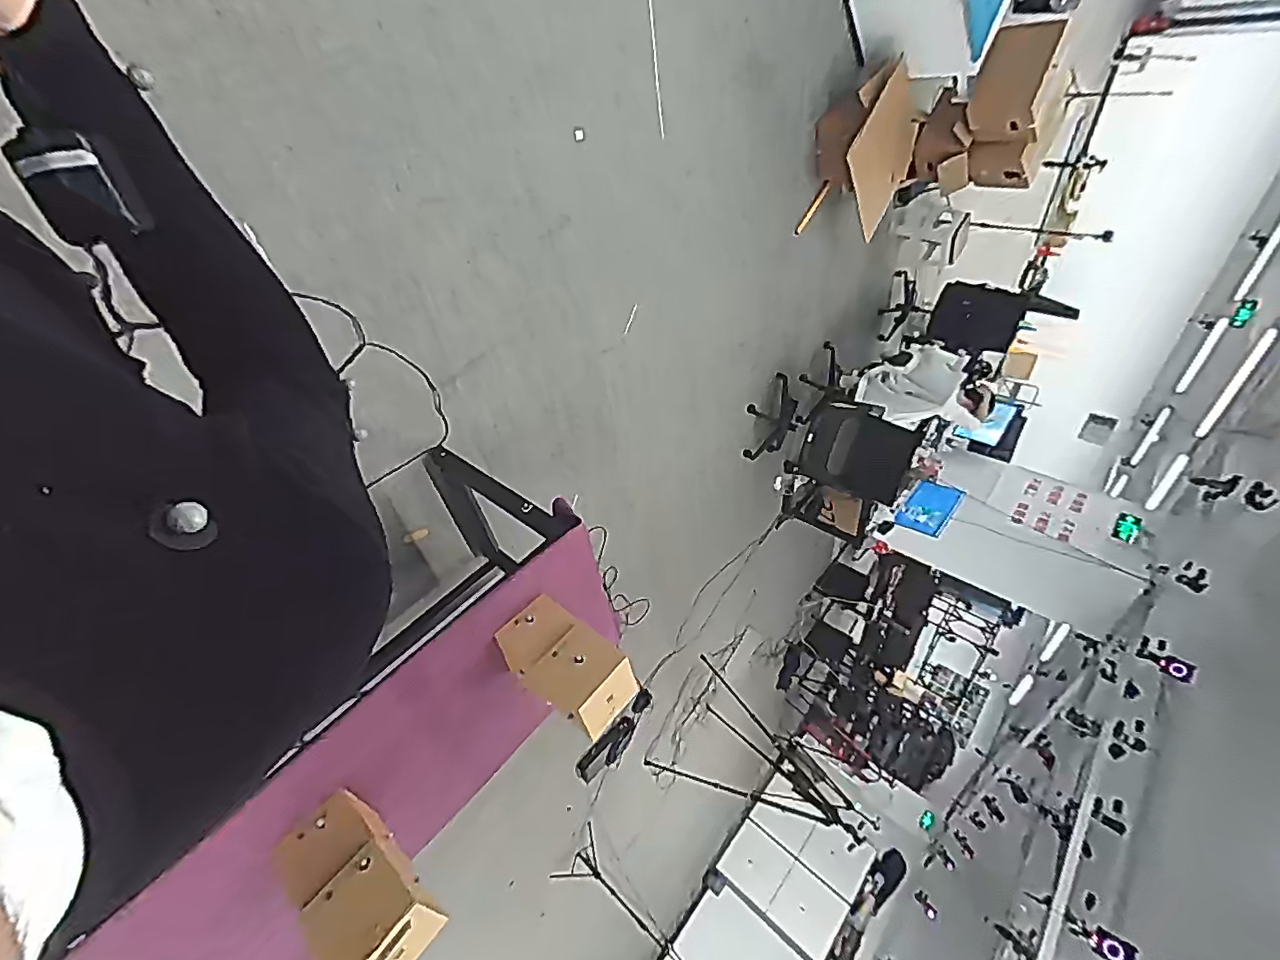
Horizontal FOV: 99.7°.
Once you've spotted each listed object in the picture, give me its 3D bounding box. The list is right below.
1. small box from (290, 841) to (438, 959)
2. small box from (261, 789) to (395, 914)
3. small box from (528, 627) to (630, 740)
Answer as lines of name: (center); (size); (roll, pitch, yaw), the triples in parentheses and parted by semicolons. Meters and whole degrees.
small box: (-0.537, 0.853, 1.058); (0.168, 0.176, 0.179); (-42, 143, -31)
small box: (-0.660, 0.805, 1.158); (0.168, 0.176, 0.179); (-41, 141, -32)
small box: (-0.151, 0.490, 1.327); (0.168, 0.176, 0.179); (-40, 140, -29)
